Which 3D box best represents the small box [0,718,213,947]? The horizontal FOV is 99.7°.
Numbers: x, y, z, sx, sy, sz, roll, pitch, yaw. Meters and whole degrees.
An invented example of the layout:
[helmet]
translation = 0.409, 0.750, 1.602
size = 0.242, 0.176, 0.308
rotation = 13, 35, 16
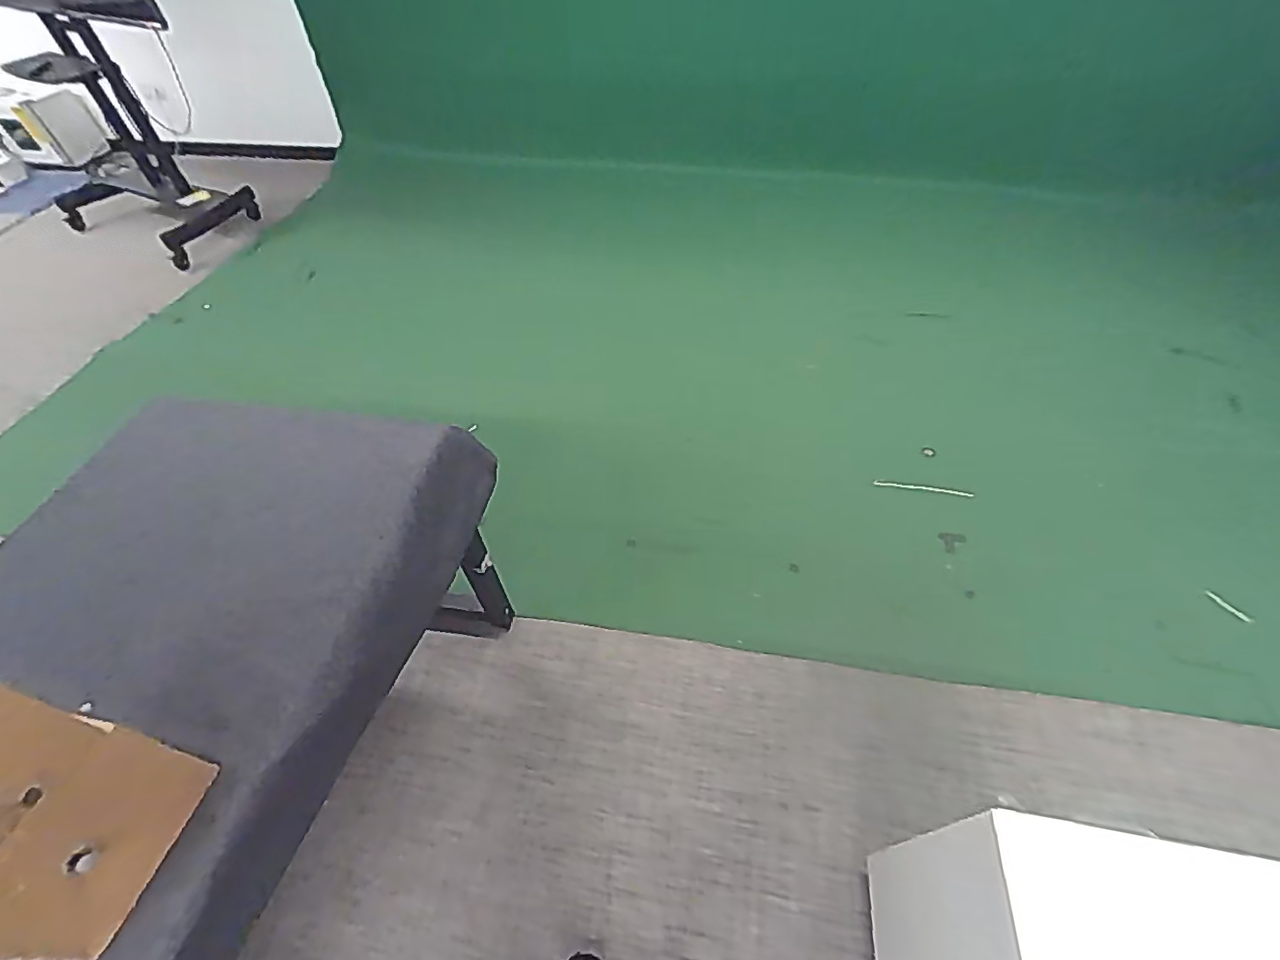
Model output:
[small box]
translation = -0.591, 0.336, 0.537
size = 0.168, 0.176, 0.179
rotation = 8, 51, 9
